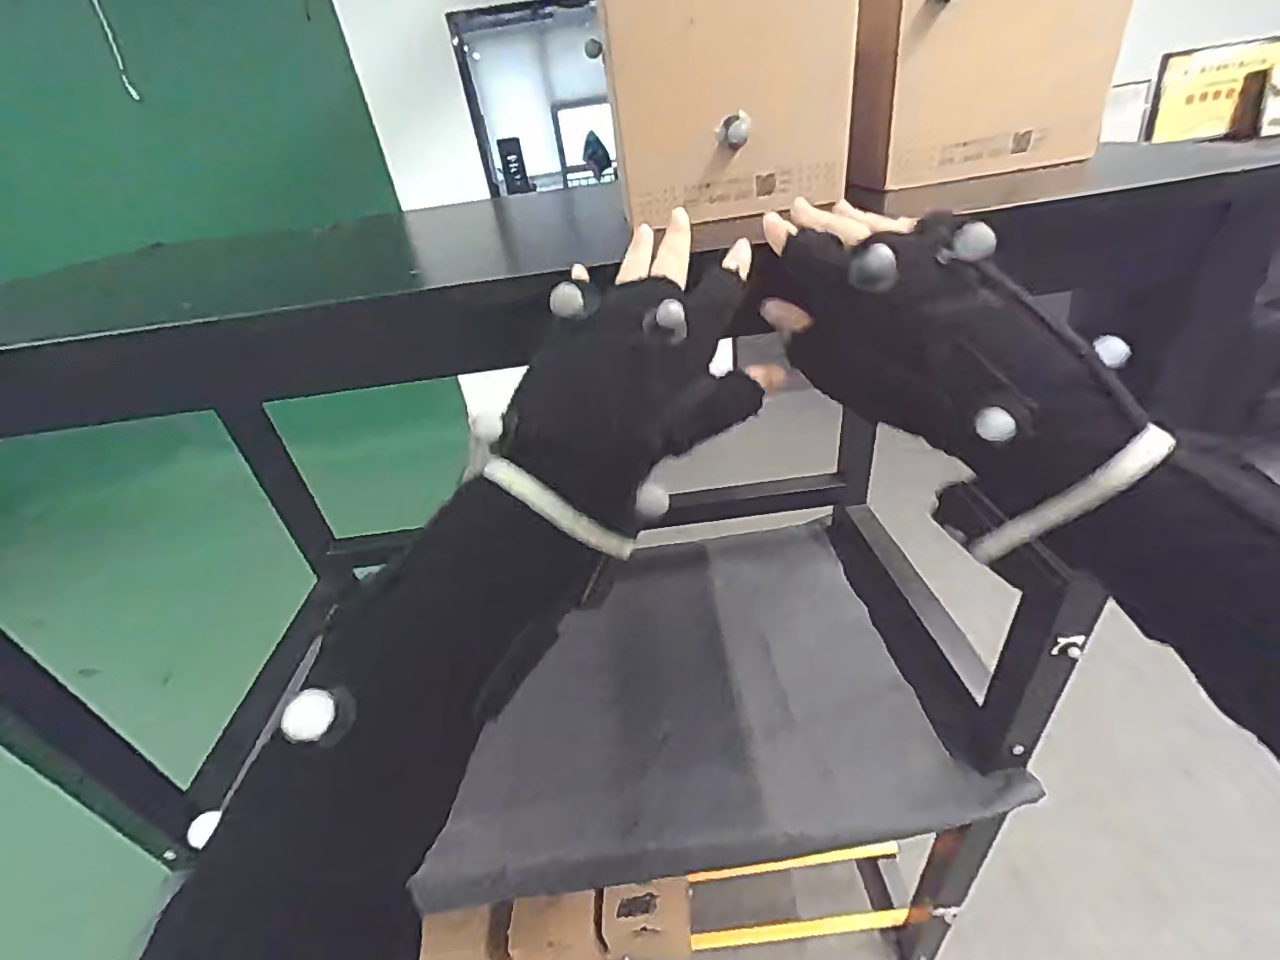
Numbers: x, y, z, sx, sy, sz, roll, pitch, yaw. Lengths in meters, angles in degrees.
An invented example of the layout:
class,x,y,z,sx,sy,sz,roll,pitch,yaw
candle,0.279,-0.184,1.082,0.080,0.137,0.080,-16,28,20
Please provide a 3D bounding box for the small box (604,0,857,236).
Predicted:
class,x,y,z,sx,sy,sz,roll,pitch,yaw
small box,0.061,-0.310,0.449,0.168,0.176,0.179,-8,34,1
